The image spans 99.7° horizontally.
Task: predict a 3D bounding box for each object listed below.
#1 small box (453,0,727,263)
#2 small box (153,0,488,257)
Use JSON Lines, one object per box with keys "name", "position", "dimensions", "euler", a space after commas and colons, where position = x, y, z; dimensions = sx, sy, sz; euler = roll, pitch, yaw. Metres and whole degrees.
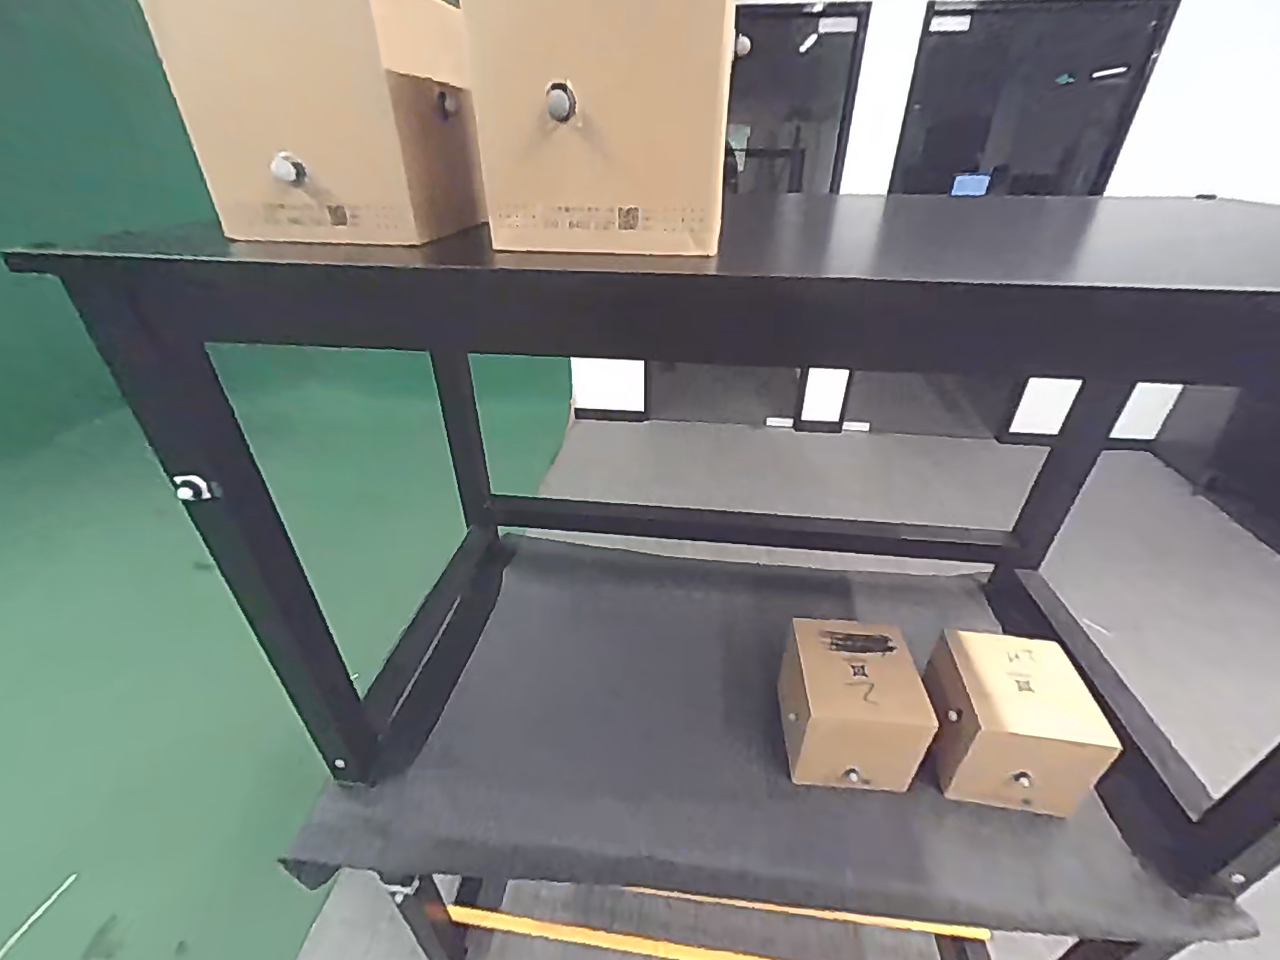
{"name": "small box", "position": [-0.020, -0.274, 0.427], "dimensions": [0.168, 0.176, 0.179], "euler": [4, 32, 7]}
{"name": "small box", "position": [-0.241, -0.298, 0.463], "dimensions": [0.168, 0.176, 0.179], "euler": [4, 33, 7]}
